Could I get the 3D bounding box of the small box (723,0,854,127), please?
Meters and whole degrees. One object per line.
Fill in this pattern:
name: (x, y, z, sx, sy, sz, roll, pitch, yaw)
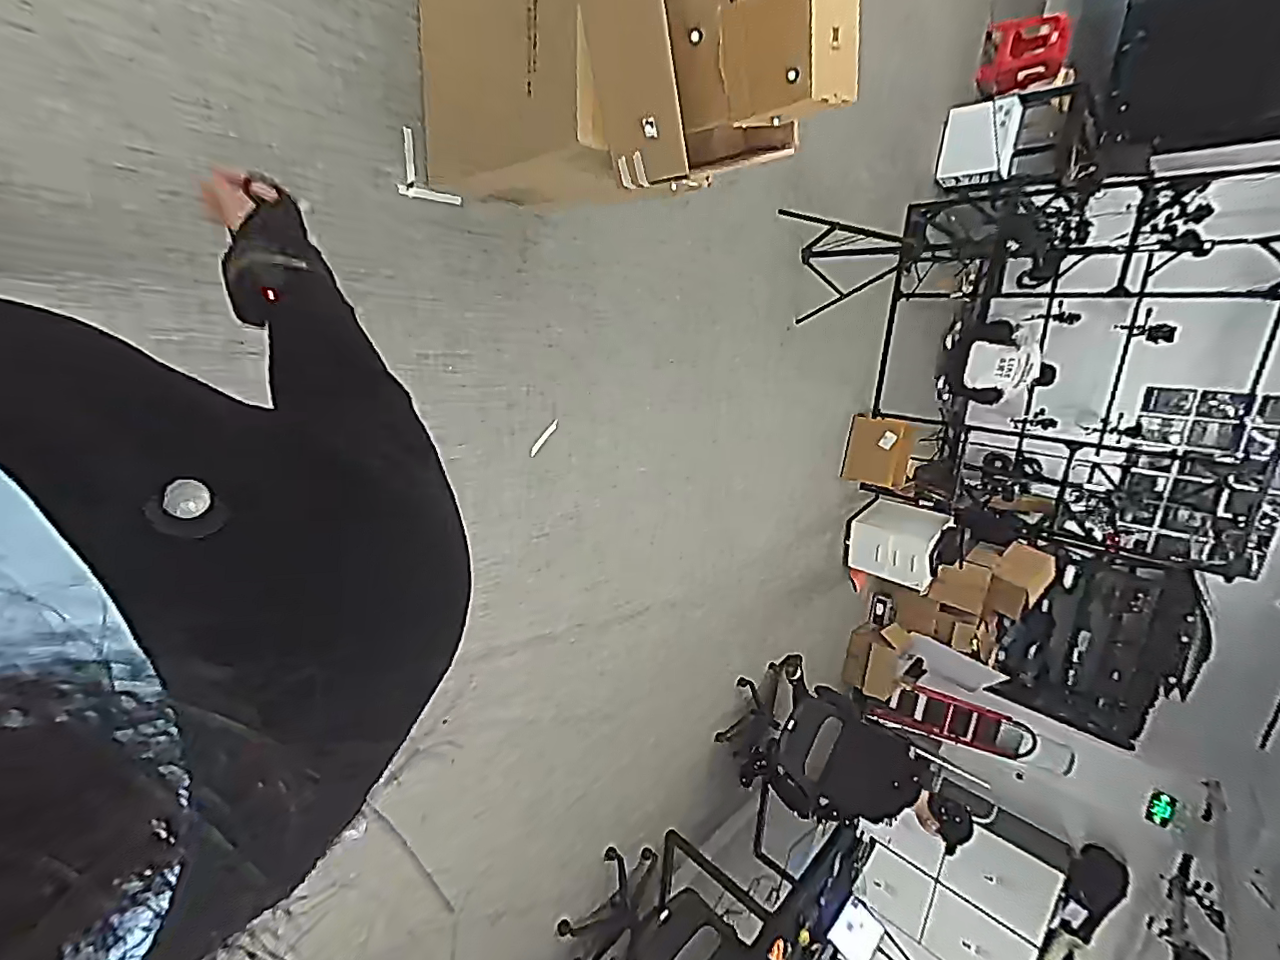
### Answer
small box: (0.260, -0.745, 0.953, 0.168, 0.176, 0.179, -30, 123, -37)
